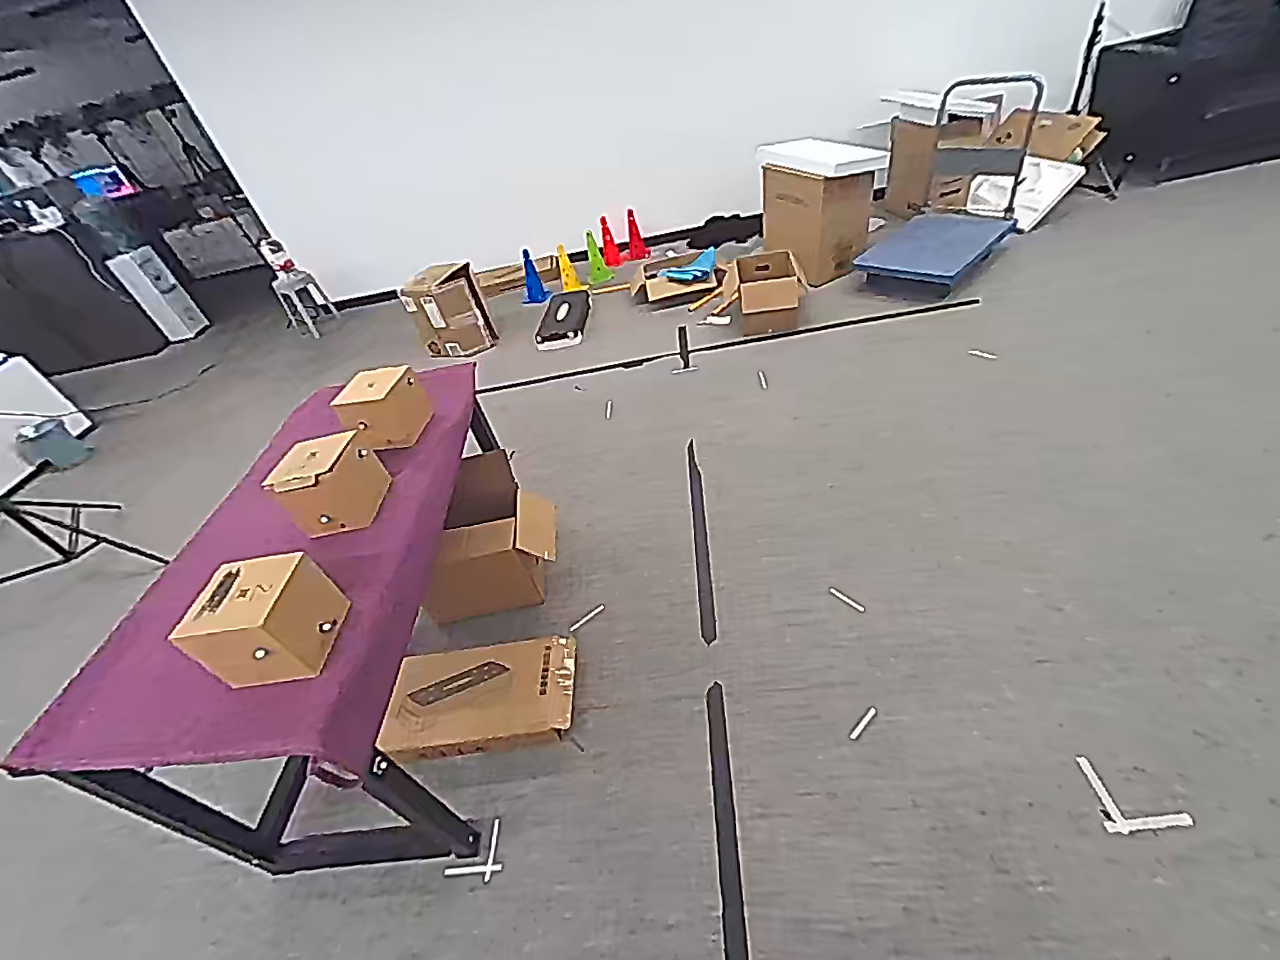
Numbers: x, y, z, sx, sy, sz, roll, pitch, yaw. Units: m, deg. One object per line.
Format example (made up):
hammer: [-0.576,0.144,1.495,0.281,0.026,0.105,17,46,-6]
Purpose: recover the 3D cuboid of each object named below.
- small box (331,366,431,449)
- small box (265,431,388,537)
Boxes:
small box: [-0.728,-0.200,1.544,0.168,0.176,0.179,-5,41,11]
small box: [-0.740,0.010,1.305,0.168,0.176,0.179,-12,40,7]
